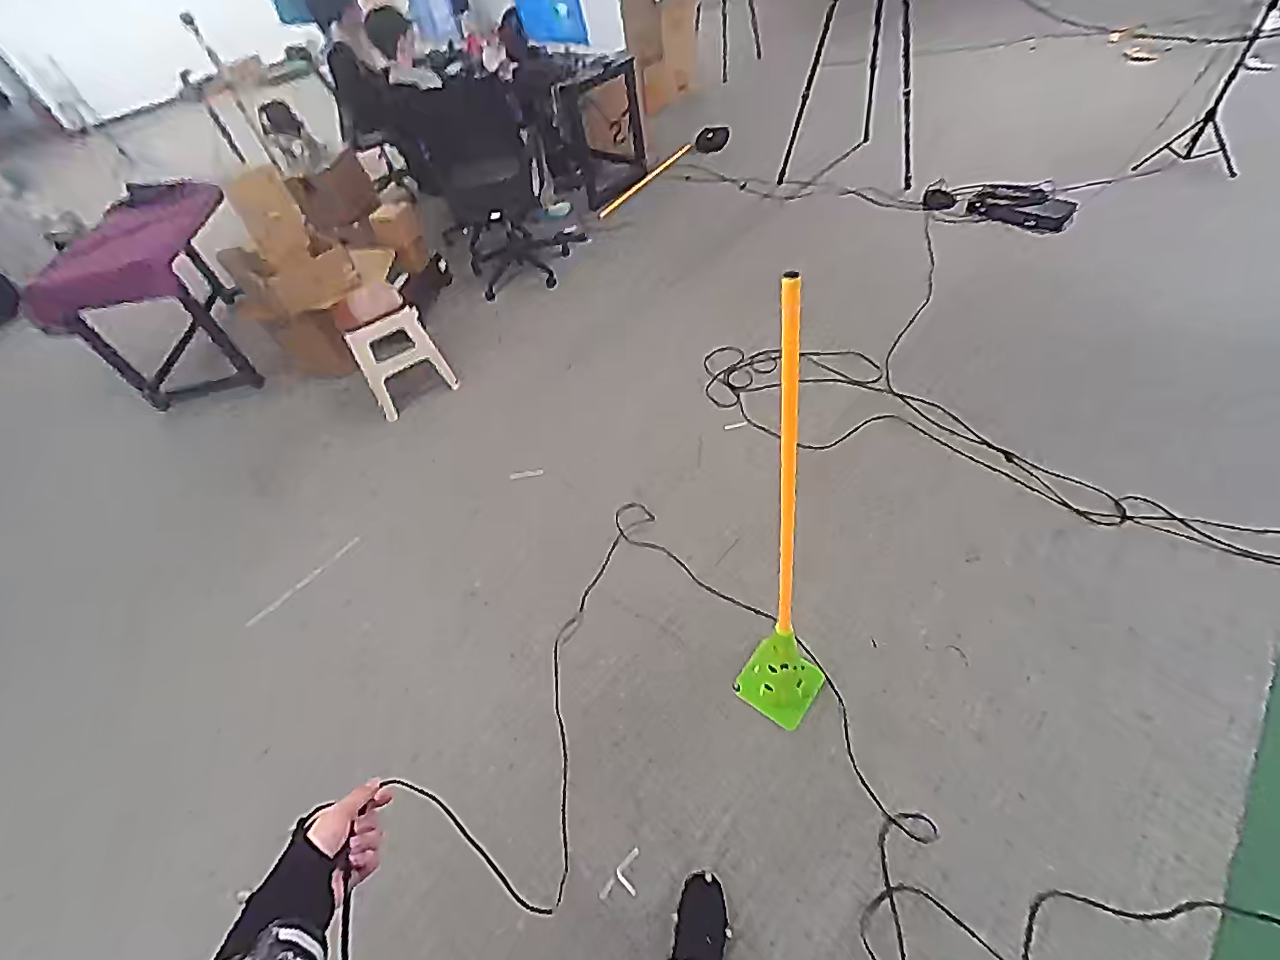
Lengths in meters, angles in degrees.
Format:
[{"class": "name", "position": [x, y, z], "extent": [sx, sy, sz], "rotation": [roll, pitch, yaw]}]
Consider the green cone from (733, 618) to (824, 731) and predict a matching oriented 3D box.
[{"class": "green cone", "position": [0.368, 0.463, 1.400], "extent": [0.200, 0.368, 0.202], "rotation": [27, 59, 29]}]
